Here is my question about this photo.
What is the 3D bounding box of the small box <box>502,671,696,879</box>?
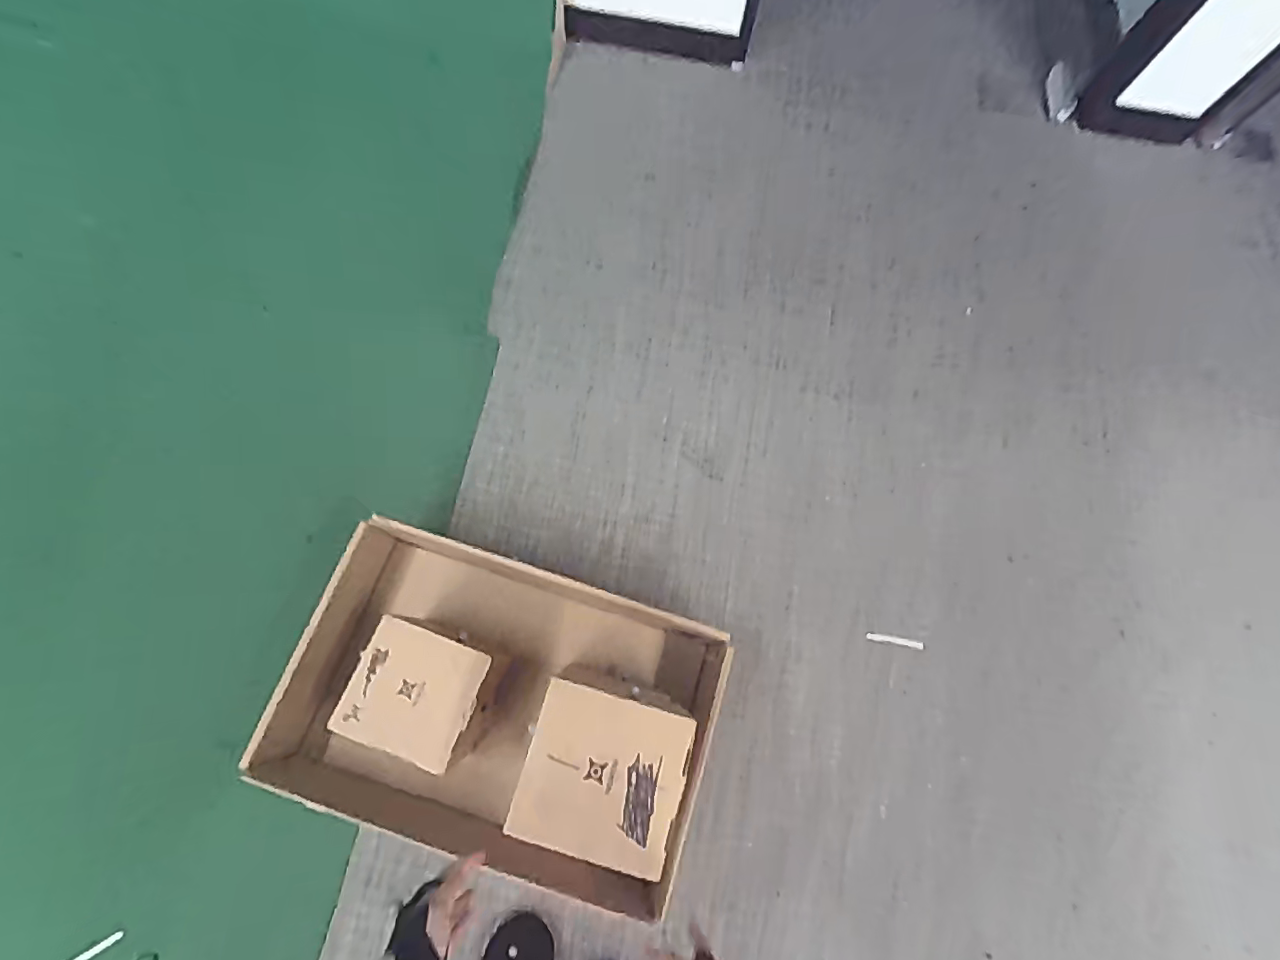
[{"bbox_3d":[-0.046,0.344,0.671,0.179,0.176,0.168,17,73,3],"label":"small box"}]
